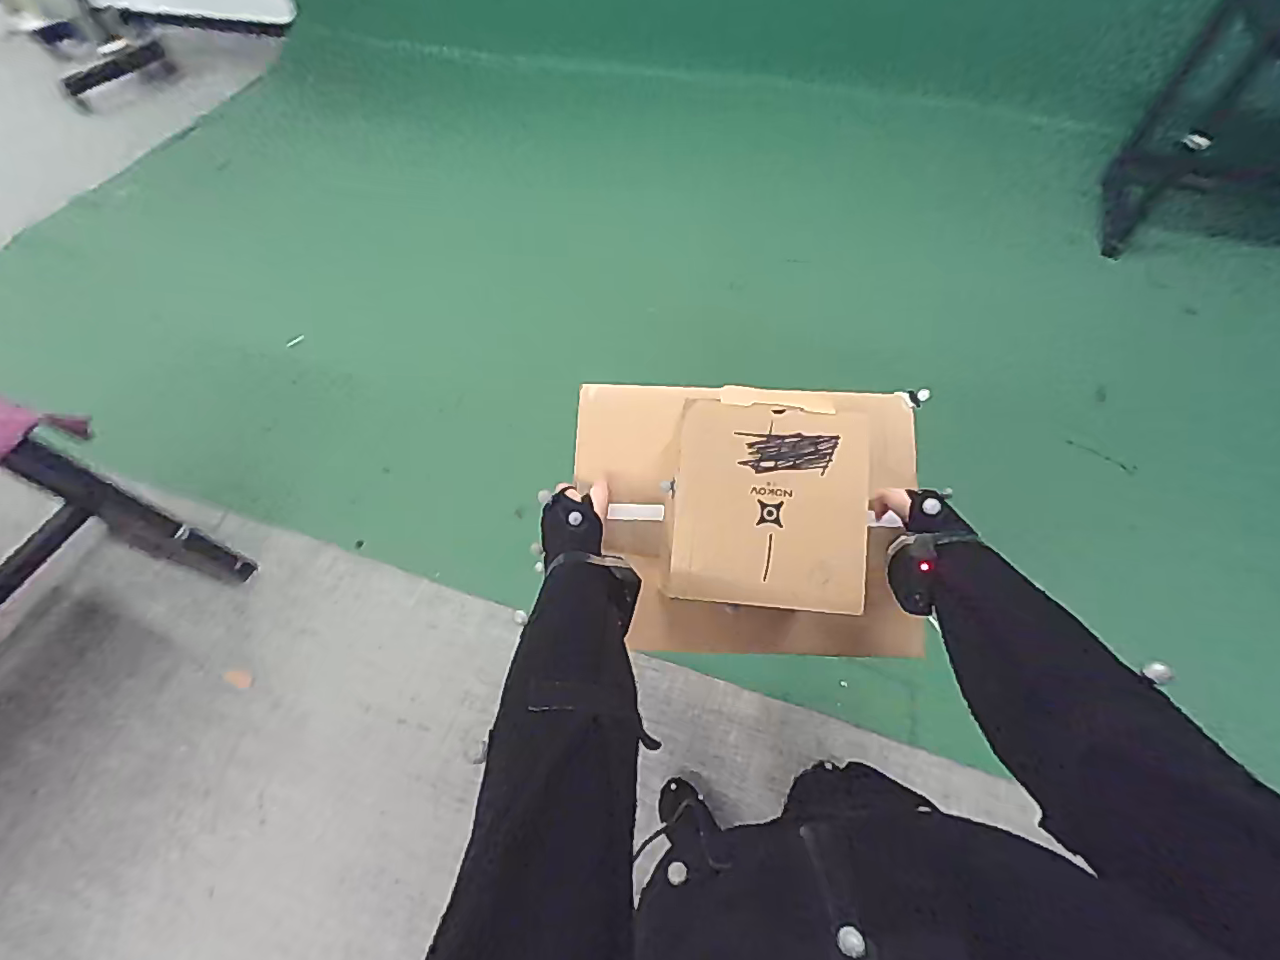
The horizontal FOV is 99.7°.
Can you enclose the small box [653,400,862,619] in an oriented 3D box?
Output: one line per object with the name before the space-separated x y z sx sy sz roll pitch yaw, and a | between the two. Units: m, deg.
small box | 0.102 0.034 0.534 0.168 0.176 0.179 5 82 0
